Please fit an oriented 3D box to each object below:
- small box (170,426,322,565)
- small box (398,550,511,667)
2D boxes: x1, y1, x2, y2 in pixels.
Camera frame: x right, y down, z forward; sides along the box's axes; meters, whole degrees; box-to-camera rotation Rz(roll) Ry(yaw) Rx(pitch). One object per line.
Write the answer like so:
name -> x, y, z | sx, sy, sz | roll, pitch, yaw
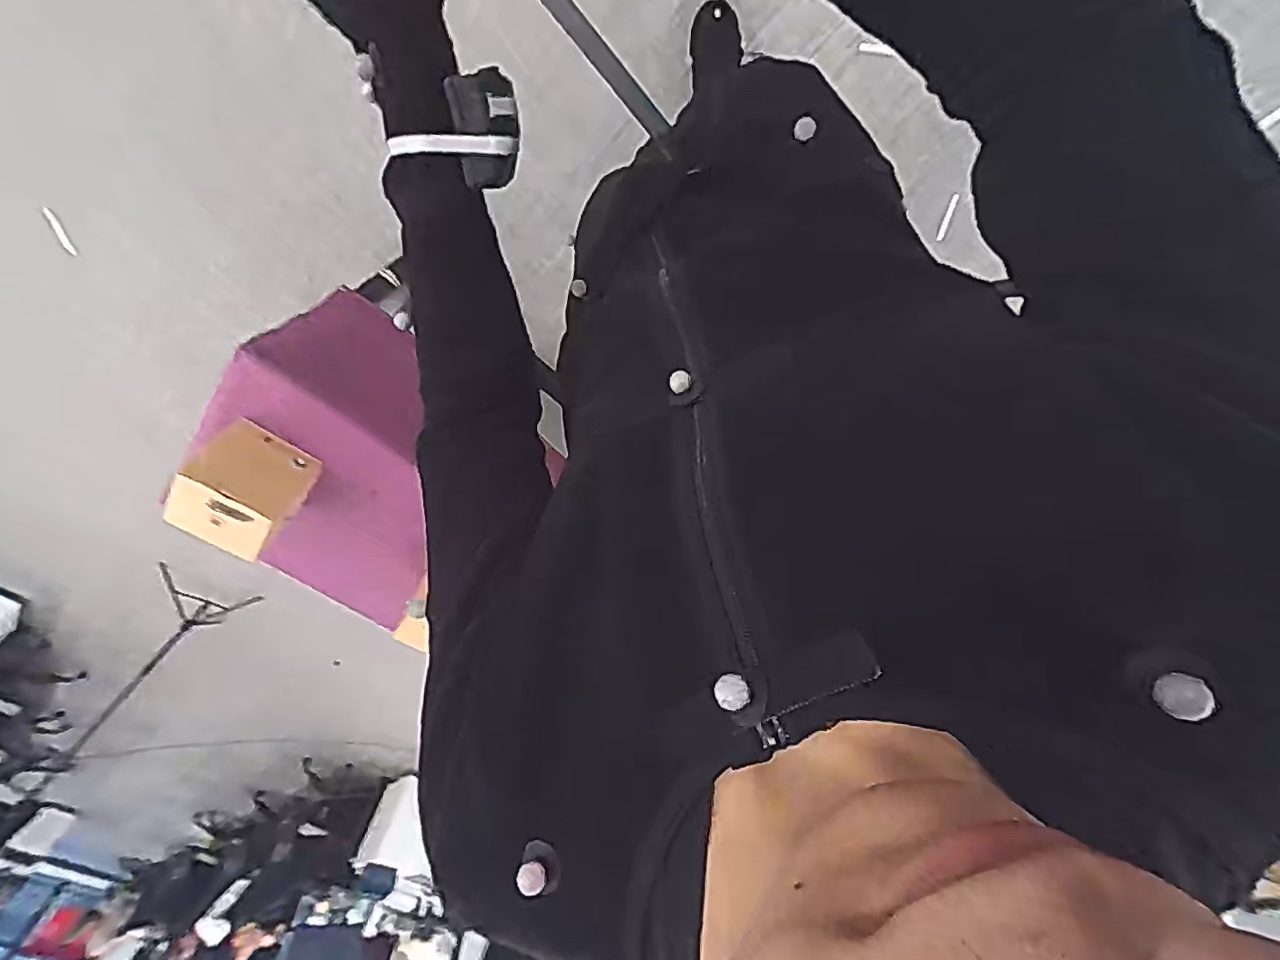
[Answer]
small box -> -0.760, 0.027, 1.056 | 0.168, 0.176, 0.179 | 35, 128, -20
small box -> -0.413, 0.288, 1.229 | 0.168, 0.176, 0.179 | 32, 128, -17
